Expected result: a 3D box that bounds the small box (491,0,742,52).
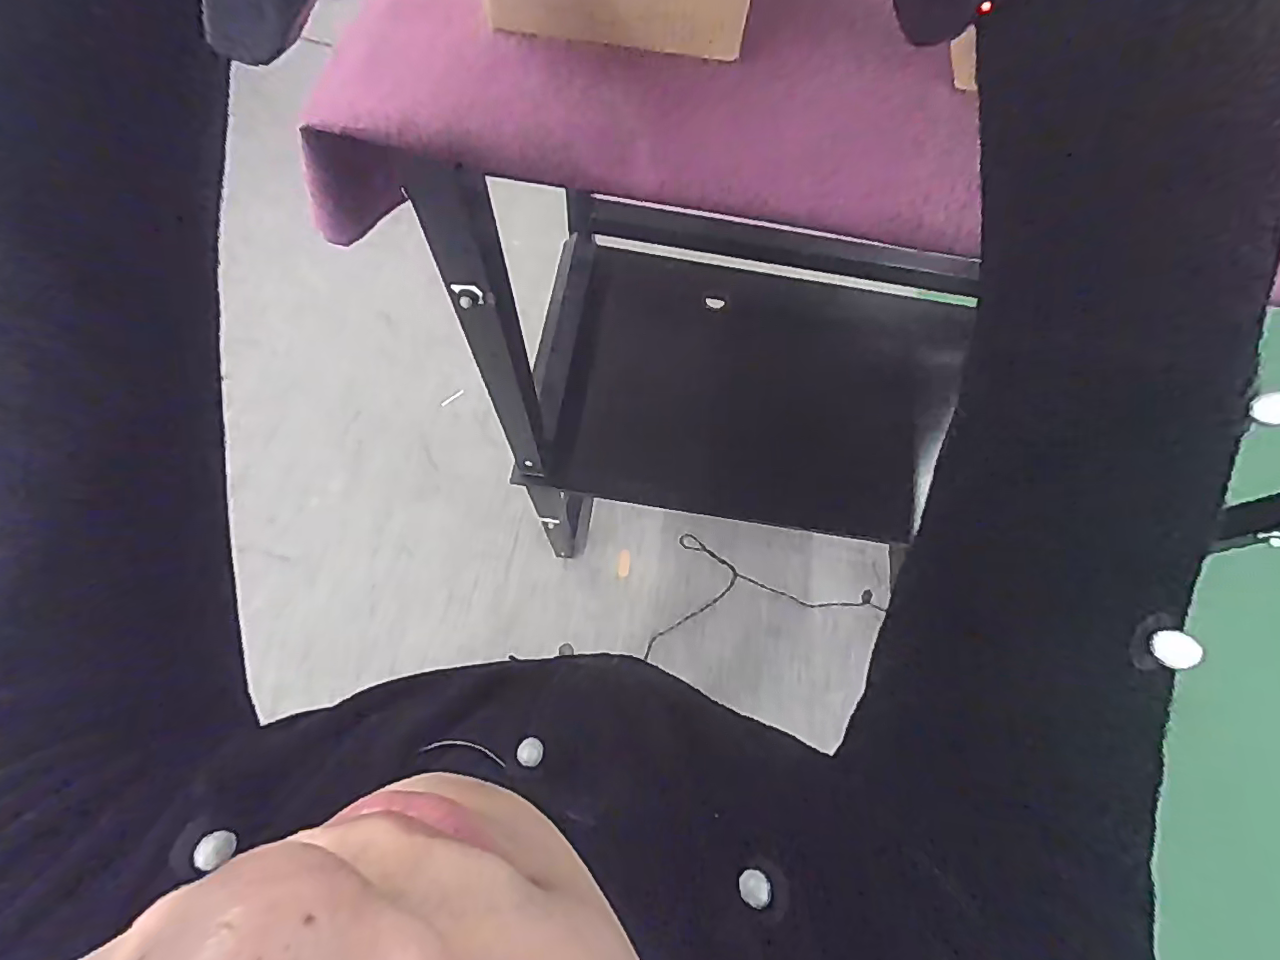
[{"bbox_3d":[-0.007,-0.408,0.331,0.179,0.176,0.168,7,69,-2],"label":"small box"}]
